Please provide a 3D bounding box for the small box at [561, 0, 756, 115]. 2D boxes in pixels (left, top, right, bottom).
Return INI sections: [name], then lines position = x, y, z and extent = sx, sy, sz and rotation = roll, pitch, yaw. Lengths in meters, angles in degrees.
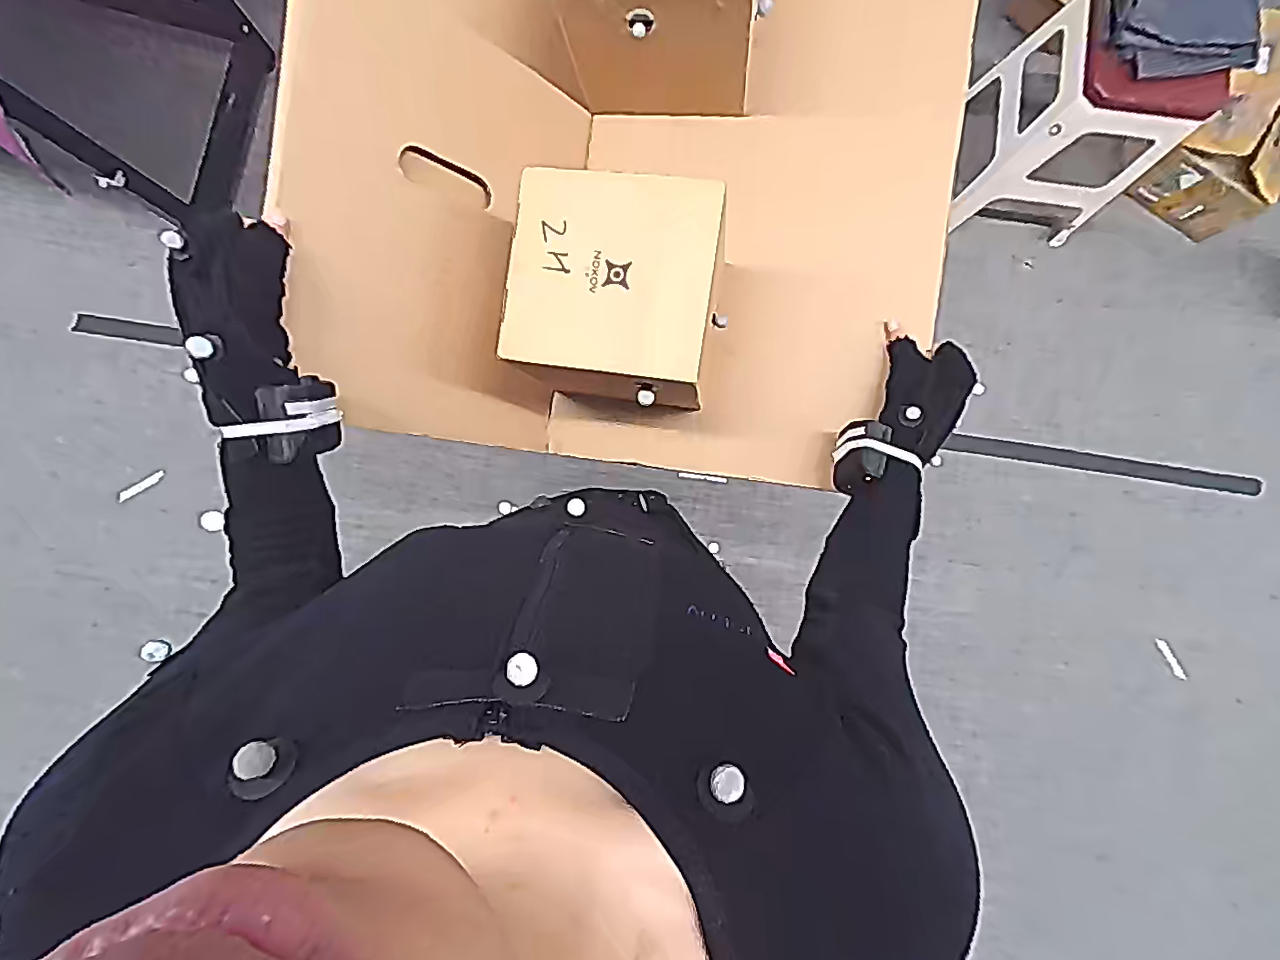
[small box]
position = 0.025, -0.495, 0.532
extent = 0.179, 0.176, 0.168
rotation = 7, 91, 8
